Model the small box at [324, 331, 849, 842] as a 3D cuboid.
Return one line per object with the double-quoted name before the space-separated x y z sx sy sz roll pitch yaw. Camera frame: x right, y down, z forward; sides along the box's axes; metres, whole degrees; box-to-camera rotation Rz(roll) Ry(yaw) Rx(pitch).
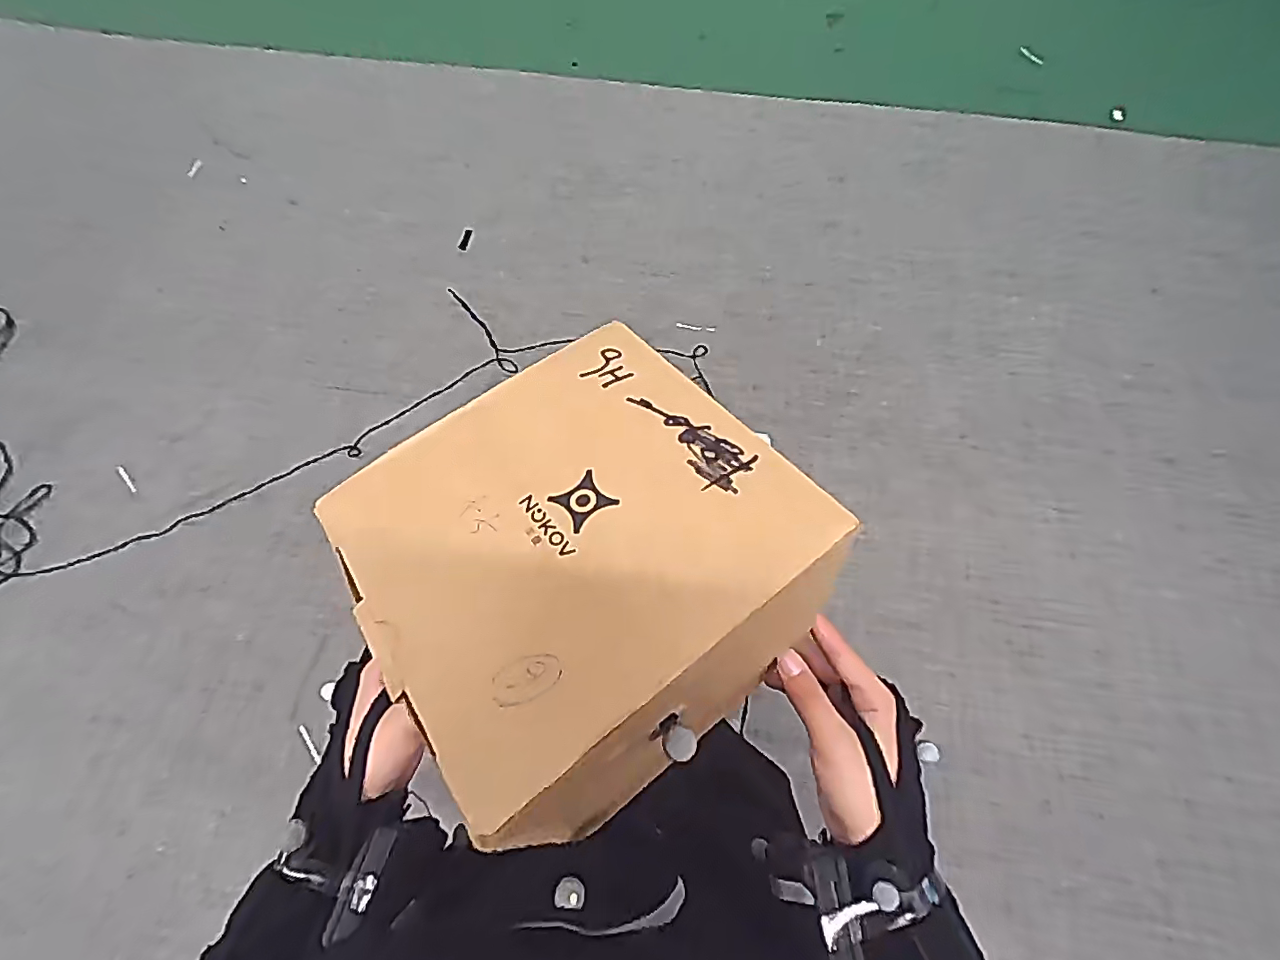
"small box" -0.020 0.061 0.295 0.179 0.176 0.168 -36 59 -14
